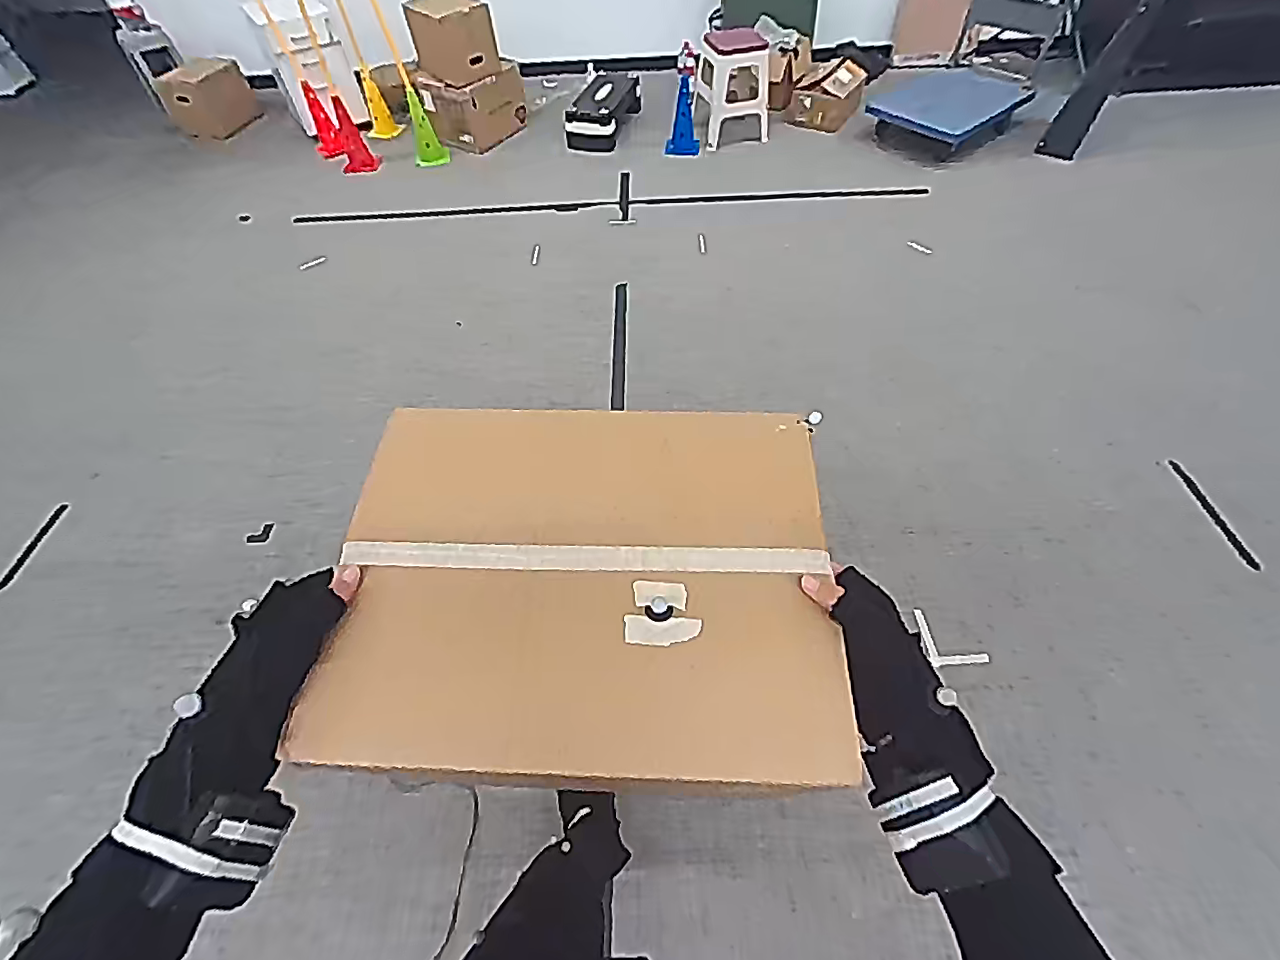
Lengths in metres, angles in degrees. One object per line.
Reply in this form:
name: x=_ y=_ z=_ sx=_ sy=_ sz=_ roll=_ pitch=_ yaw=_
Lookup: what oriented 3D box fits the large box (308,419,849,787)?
large box: x=-0.041 y=0.147 z=0.593 sx=0.408 sy=0.320 sz=0.320 roll=1 pitch=58 yaw=3
